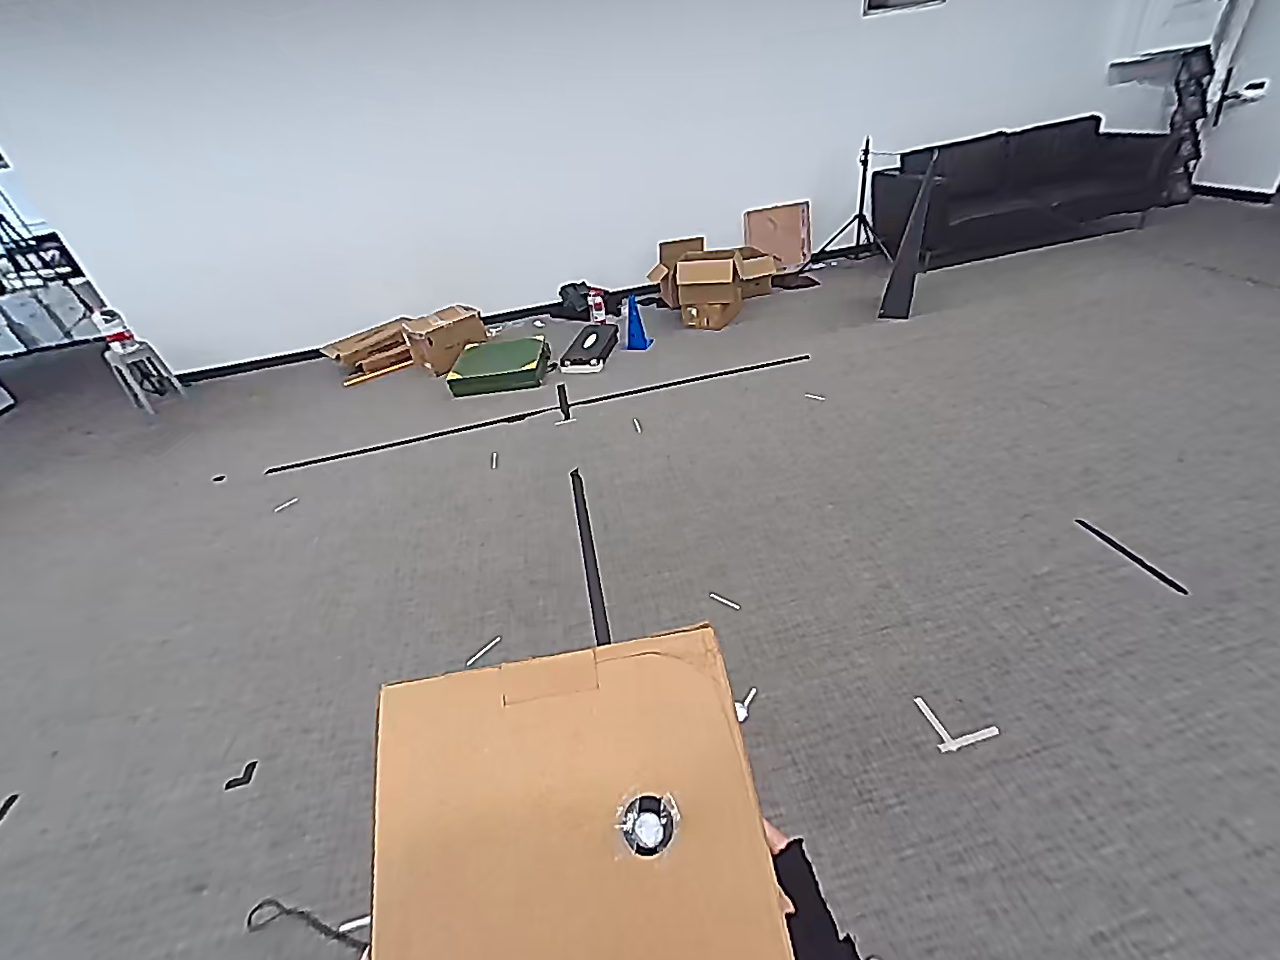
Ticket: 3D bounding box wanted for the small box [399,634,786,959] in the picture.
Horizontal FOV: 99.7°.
[{"bbox_3d":[-0.022,0.202,0.318,0.168,0.179,0.176,-10,65,0],"label":"small box"}]
